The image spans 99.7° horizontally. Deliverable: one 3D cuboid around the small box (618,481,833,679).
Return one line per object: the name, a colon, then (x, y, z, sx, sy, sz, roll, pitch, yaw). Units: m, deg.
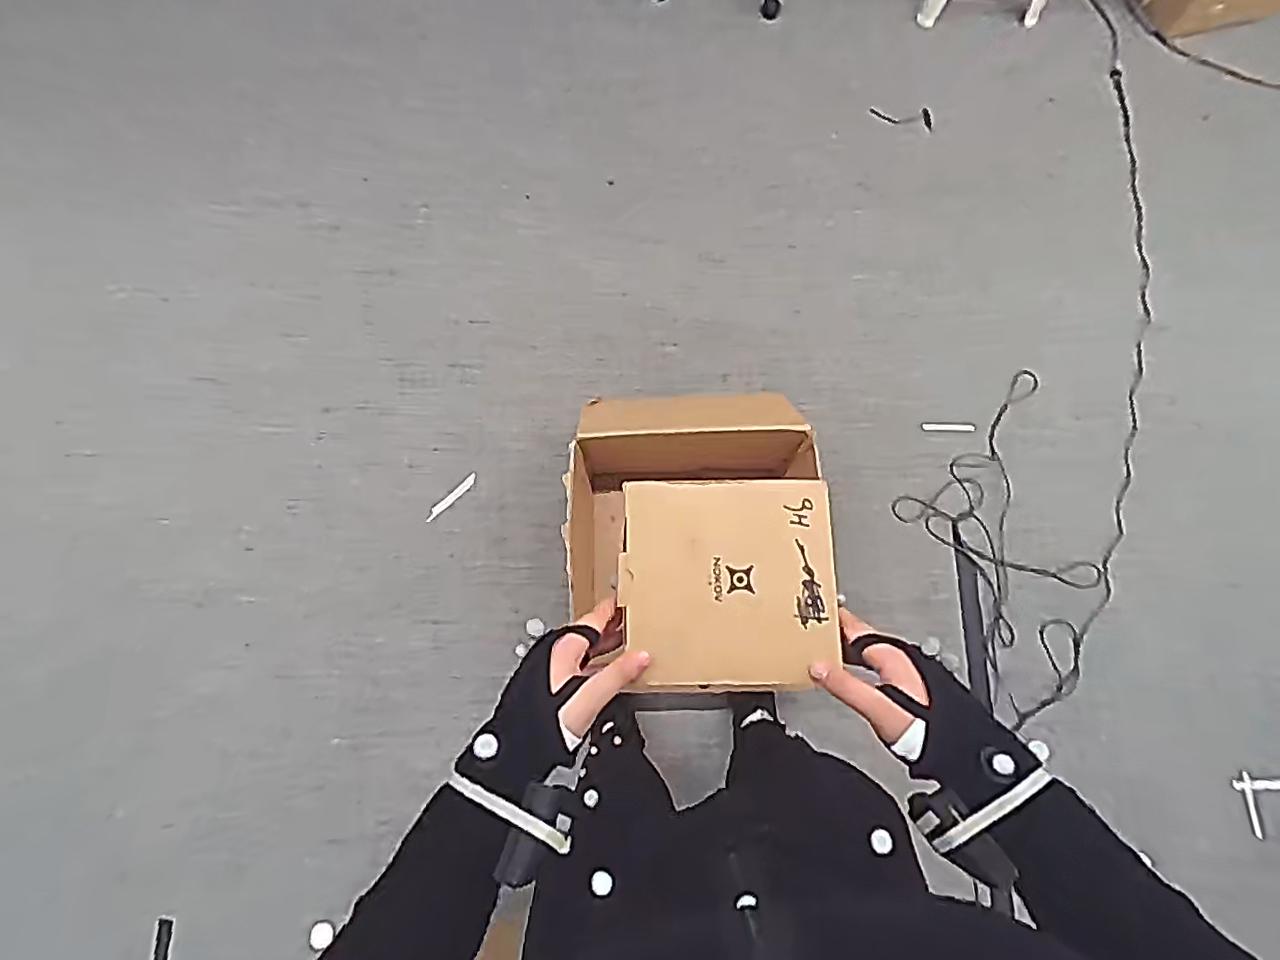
small box: (0.072, 0.100, 0.531, 0.179, 0.176, 0.168, 0, 77, 1)
